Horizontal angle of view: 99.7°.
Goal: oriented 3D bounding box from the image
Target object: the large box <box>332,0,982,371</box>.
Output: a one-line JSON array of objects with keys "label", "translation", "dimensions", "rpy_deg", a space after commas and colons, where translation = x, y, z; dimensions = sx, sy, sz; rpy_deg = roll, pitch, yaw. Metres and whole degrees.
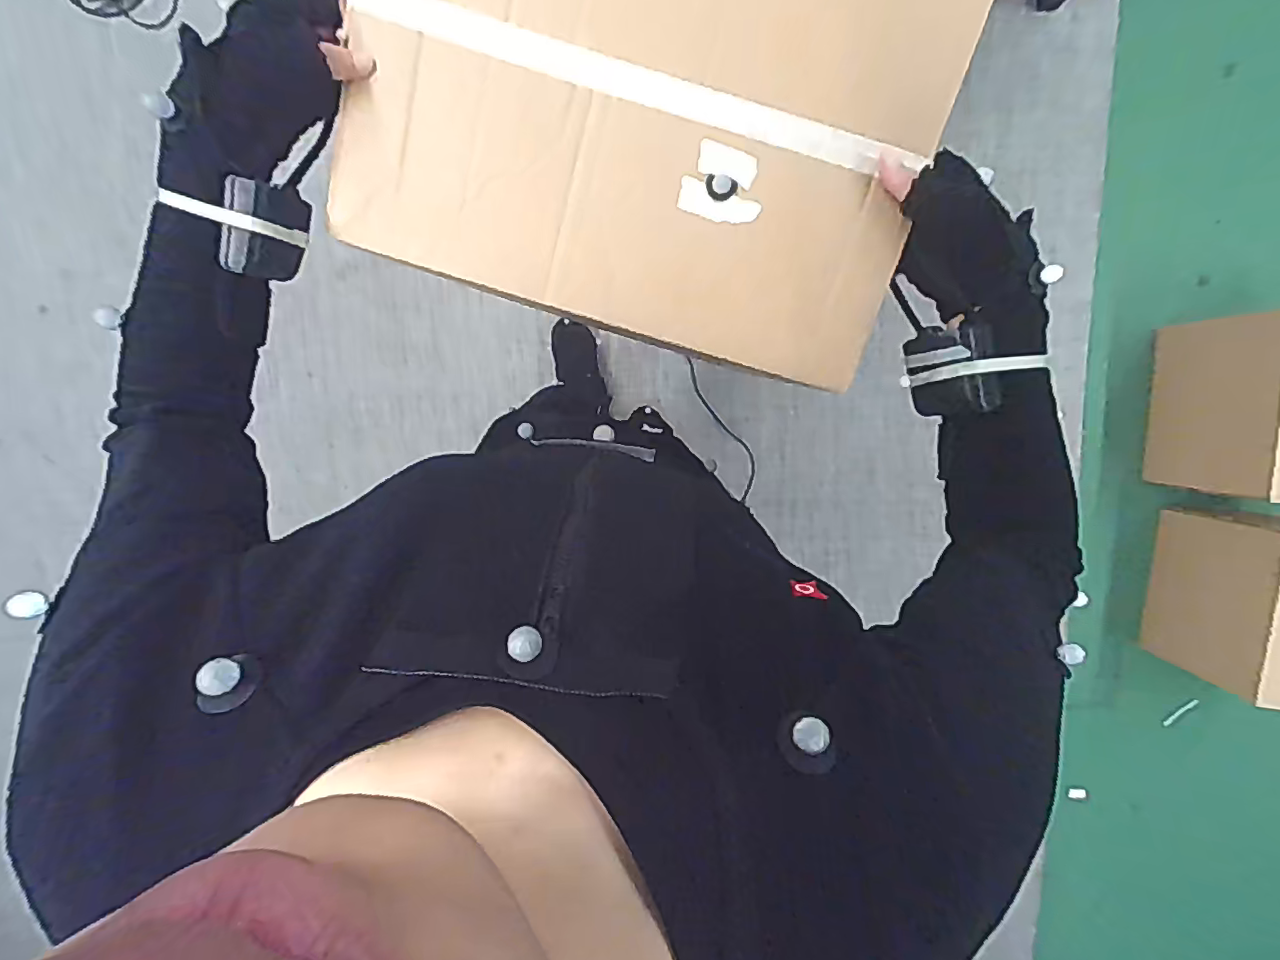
[{"label": "large box", "translation": [0.007, -0.309, 0.511], "dimensions": [0.408, 0.320, 0.320], "rpy_deg": [16, 104, -4]}]
